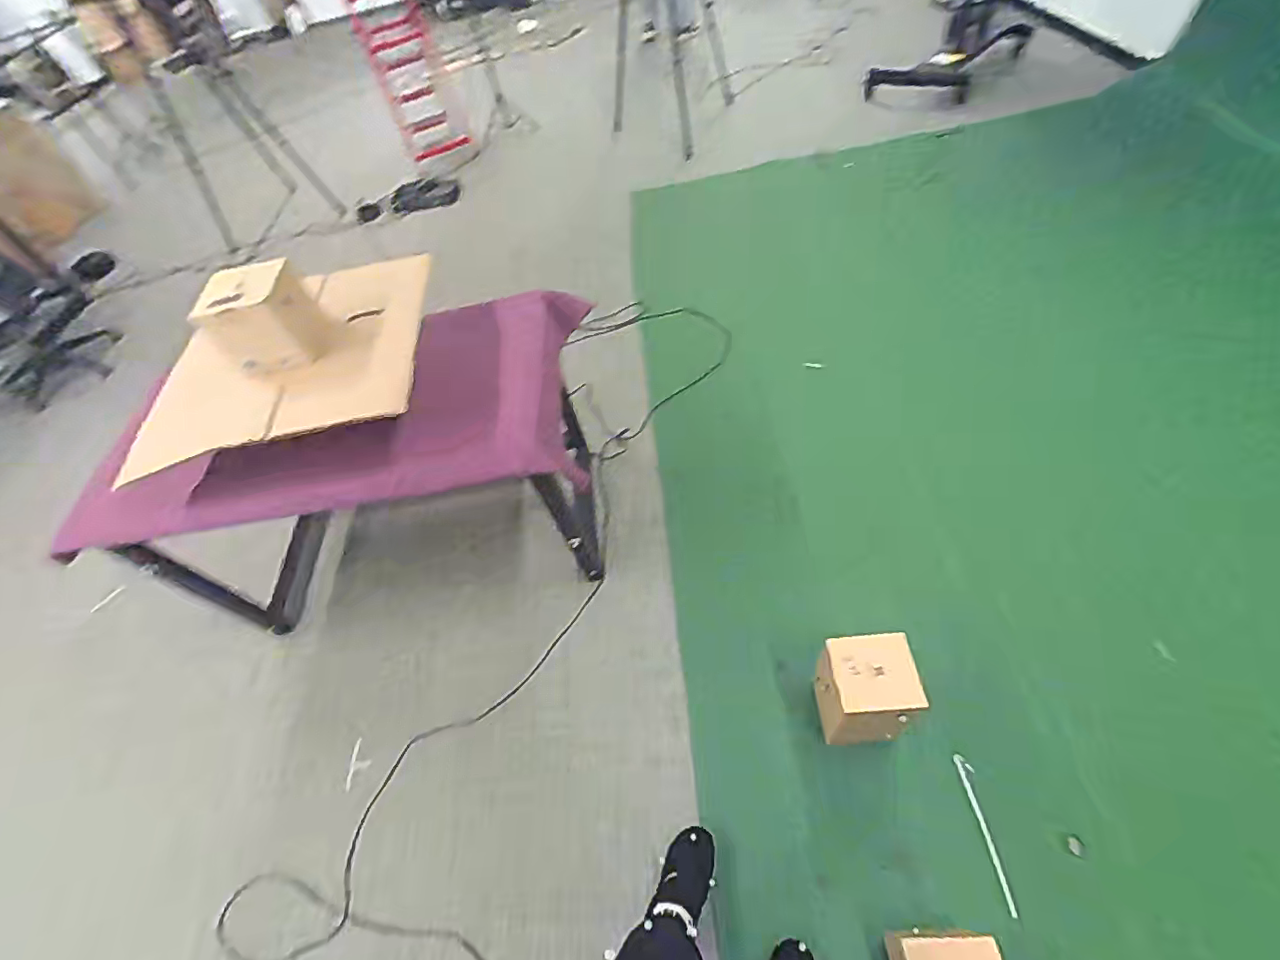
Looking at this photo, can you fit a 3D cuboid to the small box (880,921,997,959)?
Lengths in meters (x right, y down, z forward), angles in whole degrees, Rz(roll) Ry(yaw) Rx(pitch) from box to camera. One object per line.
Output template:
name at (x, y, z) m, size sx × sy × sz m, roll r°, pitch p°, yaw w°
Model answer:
small box at (0.598, 0.983, 1.064) m, size 0.179 × 0.176 × 0.168 m, roll -7°, pitch 54°, yaw 7°

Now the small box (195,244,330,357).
small box at (-0.840, -0.398, 1.225) m, size 0.168 × 0.176 × 0.179 m, roll -10°, pitch 53°, yaw 1°

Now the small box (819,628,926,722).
small box at (0.527, 0.455, 1.253) m, size 0.179 × 0.176 × 0.168 m, roll -6°, pitch 53°, yaw 7°
